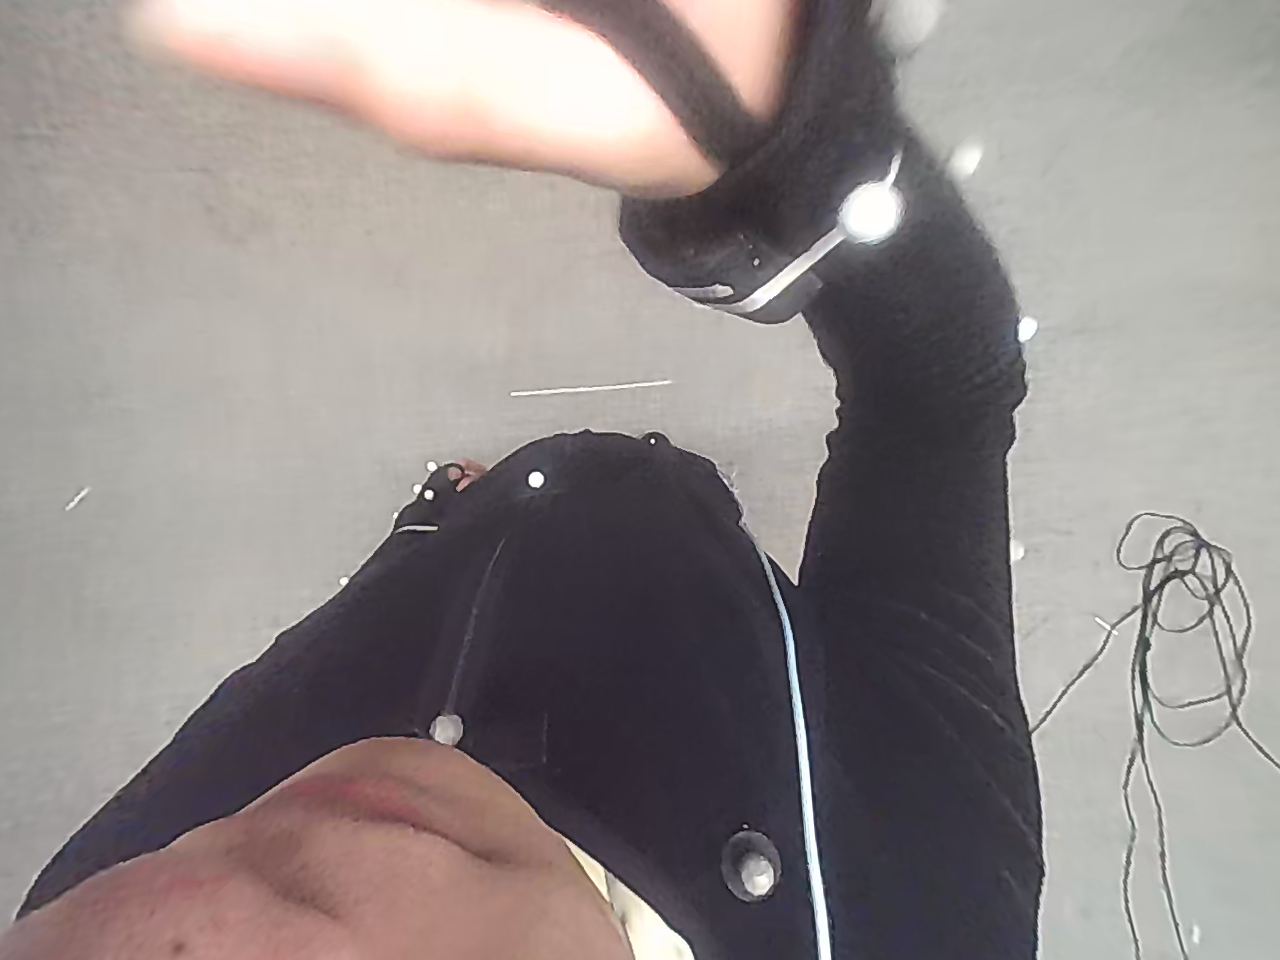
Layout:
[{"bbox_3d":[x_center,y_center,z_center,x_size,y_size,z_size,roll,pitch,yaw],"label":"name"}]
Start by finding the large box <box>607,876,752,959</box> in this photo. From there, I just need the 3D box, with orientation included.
[{"bbox_3d":[0.122,1.437,1.581,0.408,0.320,0.320,-6,93,0],"label":"large box"}]
